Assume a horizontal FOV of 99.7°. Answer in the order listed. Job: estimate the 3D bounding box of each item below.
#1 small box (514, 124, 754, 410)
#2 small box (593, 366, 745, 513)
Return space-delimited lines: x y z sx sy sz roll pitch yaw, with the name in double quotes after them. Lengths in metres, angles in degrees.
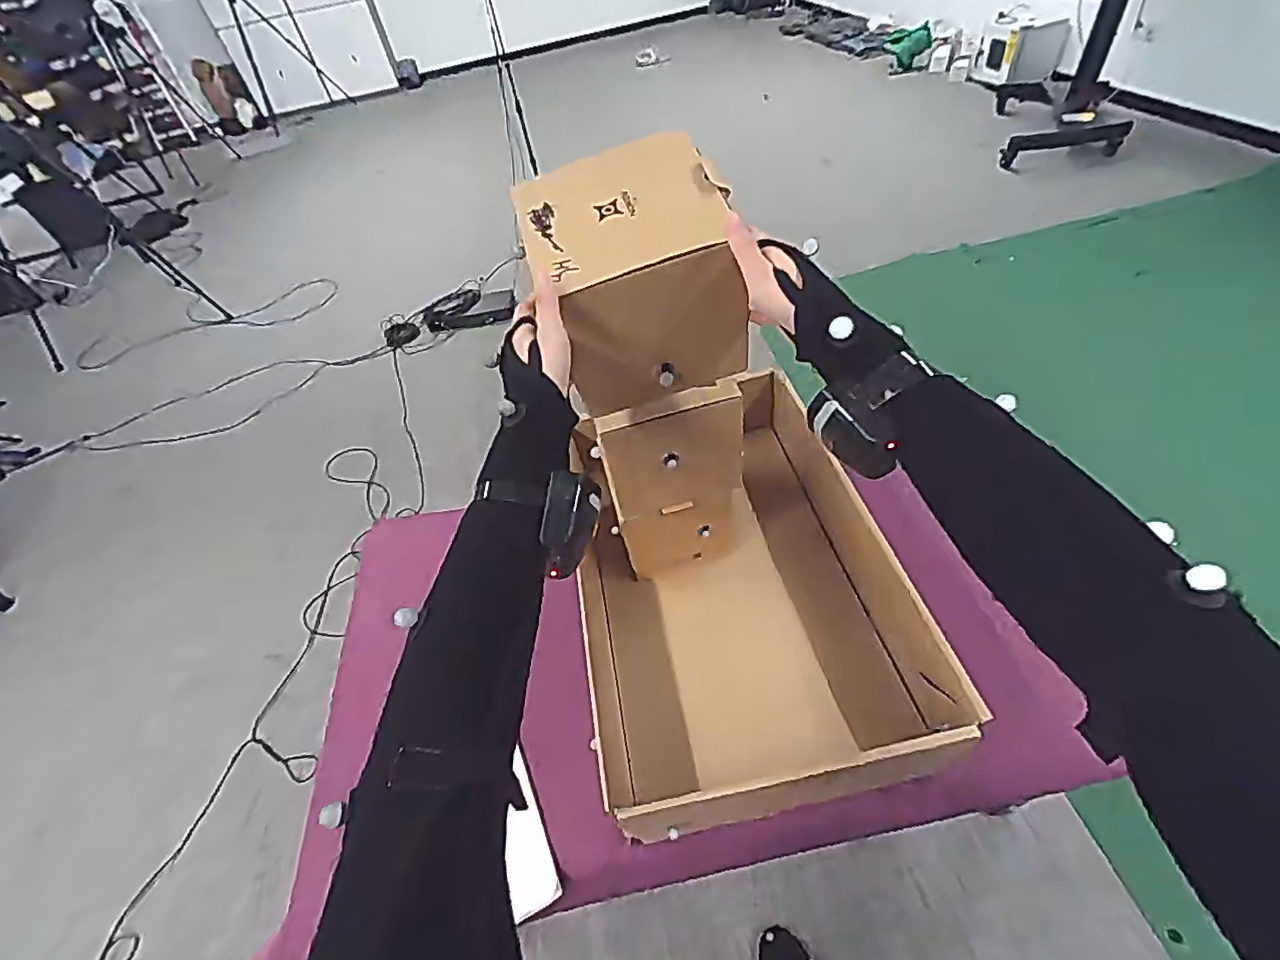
-0.003 -0.196 0.525 0.179 0.176 0.168 -17 60 0 "small box"
0.030 -0.081 0.730 0.179 0.176 0.168 -15 49 -3 "small box"
